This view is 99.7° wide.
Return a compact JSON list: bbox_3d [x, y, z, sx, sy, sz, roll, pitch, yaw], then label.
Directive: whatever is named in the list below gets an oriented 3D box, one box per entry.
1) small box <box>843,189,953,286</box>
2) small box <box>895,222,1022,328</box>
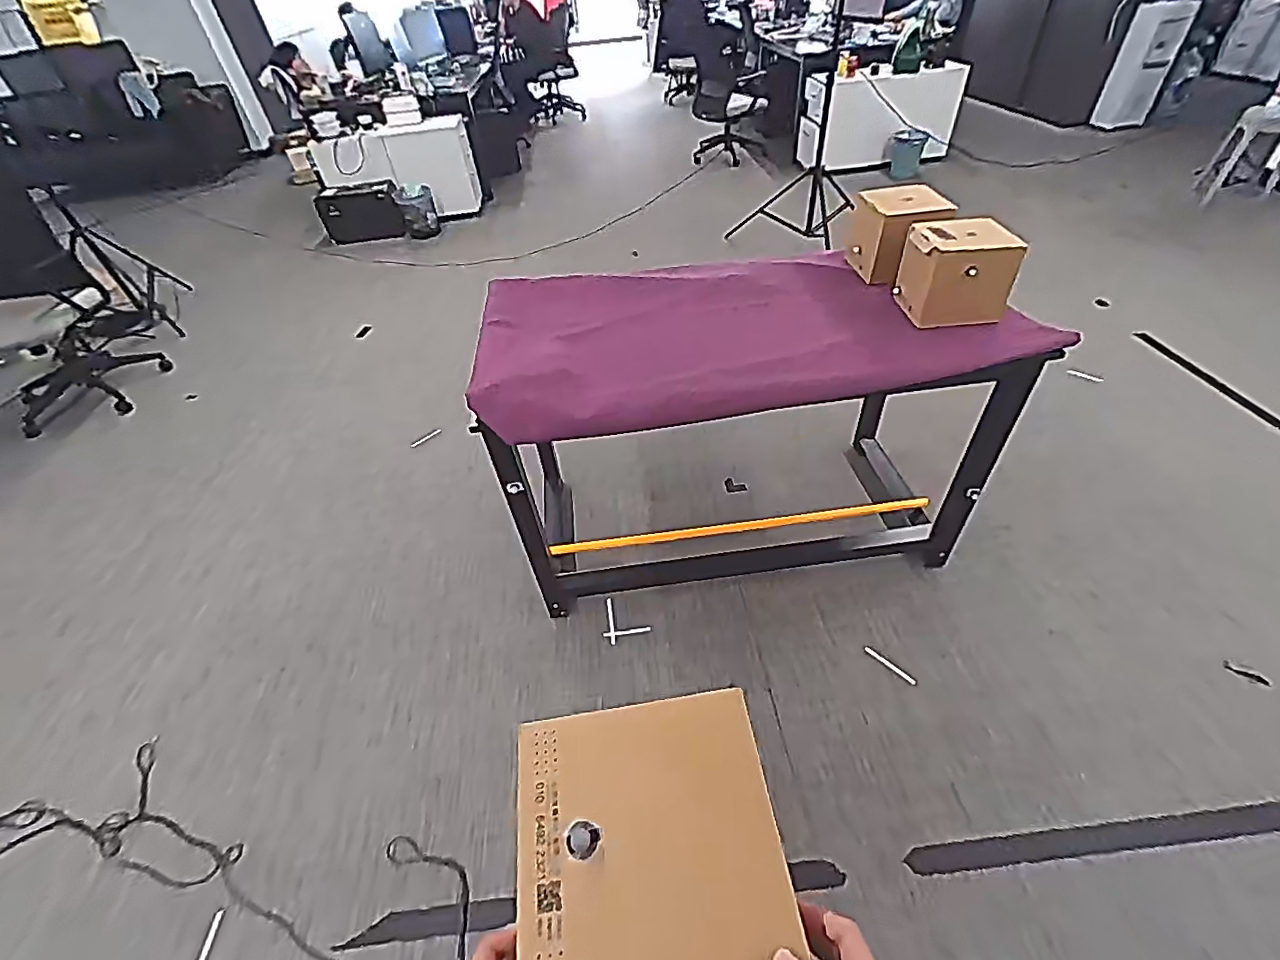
[{"bbox_3d":[0.636,-0.606,1.357,0.179,0.176,0.168,-8,45,-2],"label":"small box"},{"bbox_3d":[0.682,-0.447,1.189,0.179,0.176,0.168,-4,43,3],"label":"small box"}]
